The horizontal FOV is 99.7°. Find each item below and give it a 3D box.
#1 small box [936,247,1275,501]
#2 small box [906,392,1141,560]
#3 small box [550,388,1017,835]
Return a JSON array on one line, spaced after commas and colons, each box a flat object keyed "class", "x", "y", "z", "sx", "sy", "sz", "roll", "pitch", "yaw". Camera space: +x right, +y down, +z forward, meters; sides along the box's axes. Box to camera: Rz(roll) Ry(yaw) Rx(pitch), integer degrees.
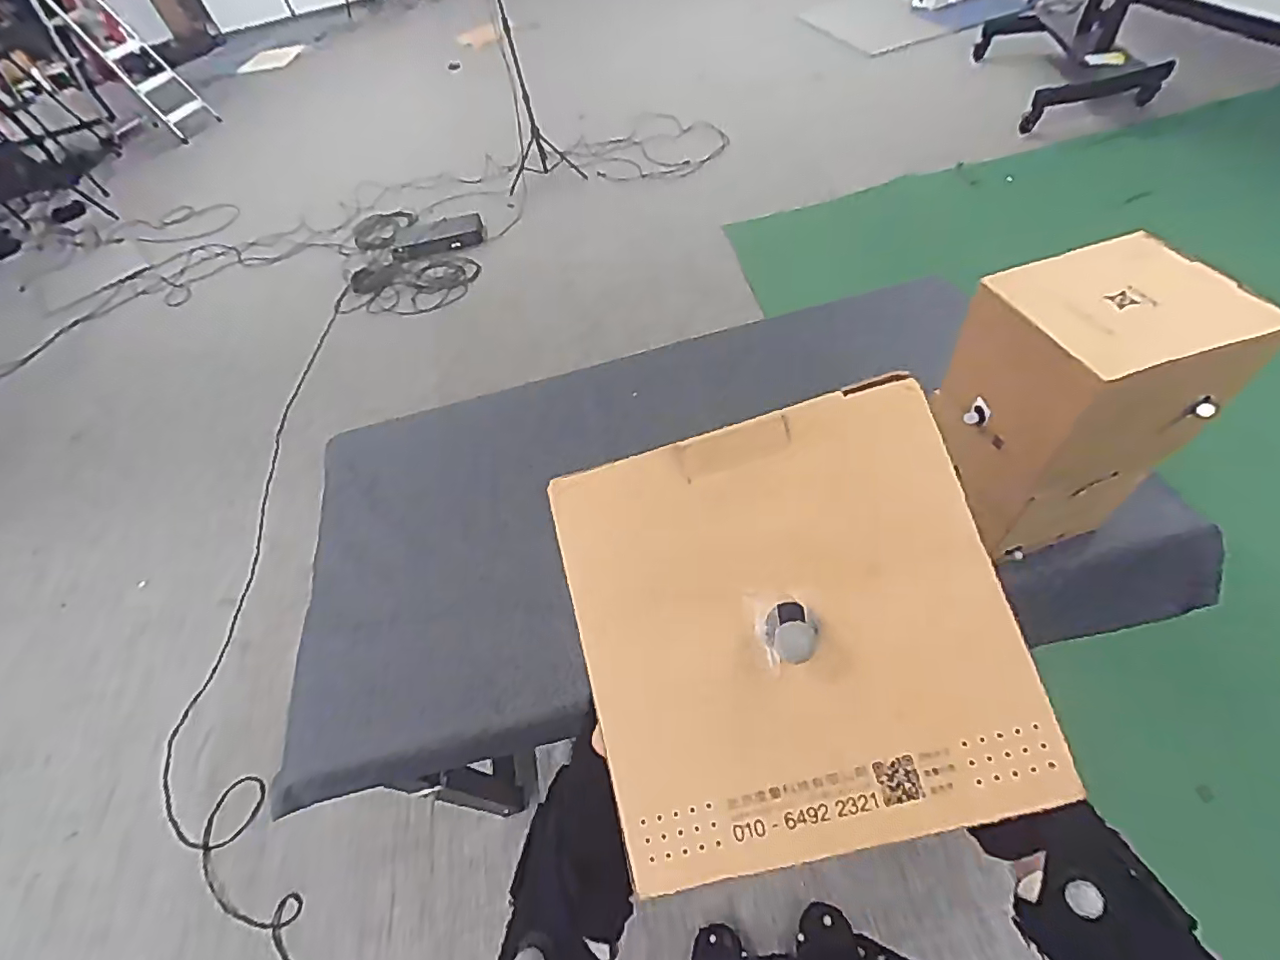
[{"class": "small box", "x": 0.450, "y": -0.105, "z": 0.565, "sx": 0.179, "sy": 0.176, "sz": 0.168, "roll": -17, "pitch": 51, "yaw": -1}, {"class": "small box", "x": 0.472, "y": -0.016, "z": 0.698, "sx": 0.168, "sy": 0.176, "sz": 0.179, "roll": -18, "pitch": 52, "yaw": -3}, {"class": "small box", "x": 0.064, "y": 0.074, "z": 0.307, "sx": 0.168, "sy": 0.179, "sz": 0.176, "roll": -14, "pitch": 77, "yaw": 3}]
